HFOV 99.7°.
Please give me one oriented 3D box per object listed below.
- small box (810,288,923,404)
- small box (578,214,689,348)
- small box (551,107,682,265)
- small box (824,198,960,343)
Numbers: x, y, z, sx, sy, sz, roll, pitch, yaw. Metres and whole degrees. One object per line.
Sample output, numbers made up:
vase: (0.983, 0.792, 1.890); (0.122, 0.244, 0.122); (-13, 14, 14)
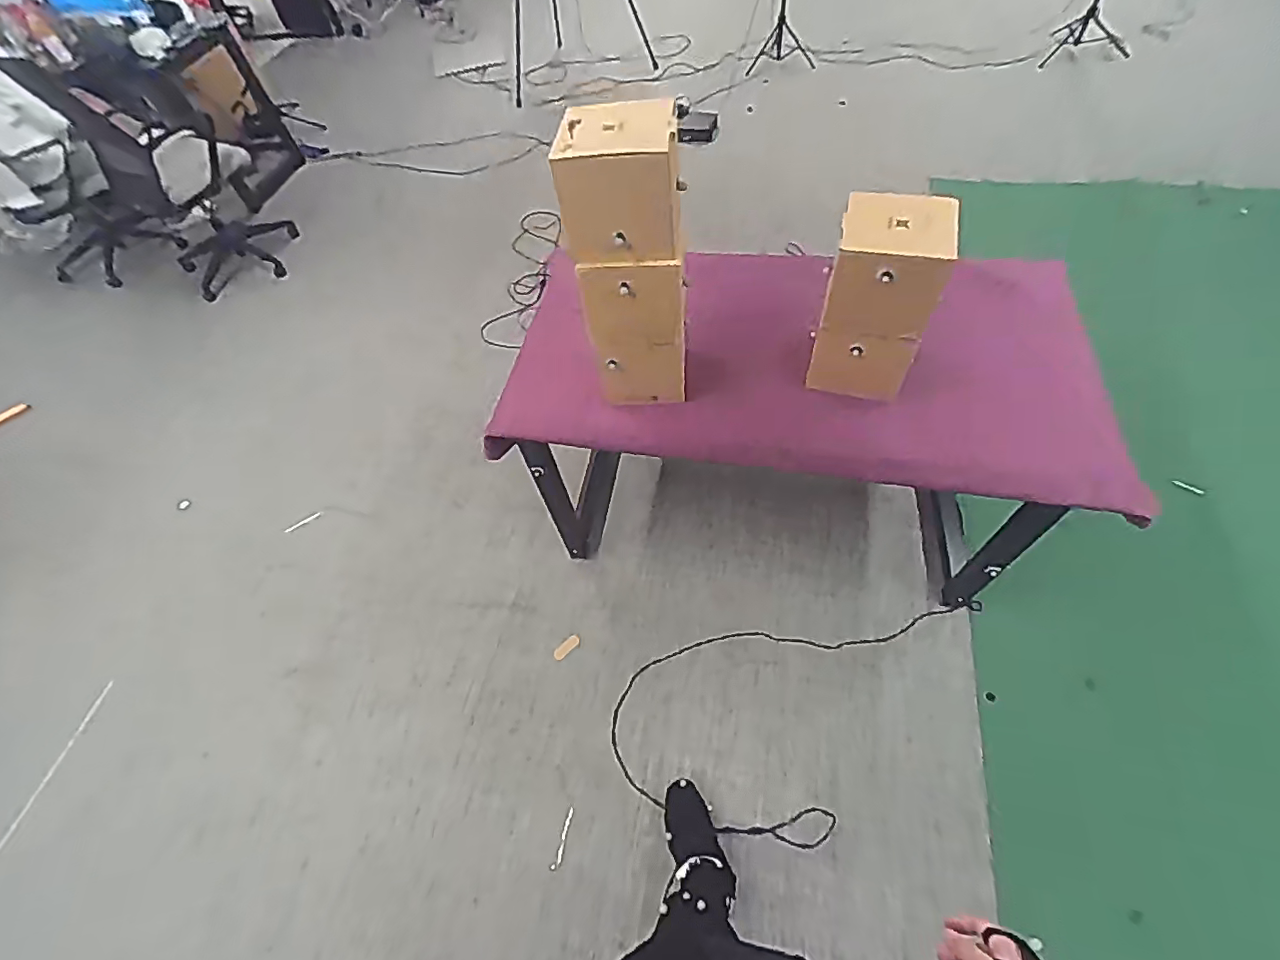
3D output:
small box: (0.448, -0.273, 1.076); (0.179, 0.176, 0.168); (13, 60, 14)
small box: (-0.002, -0.357, 0.986); (0.179, 0.176, 0.168); (1, 56, 8)
small box: (-0.025, -0.461, 0.861); (0.179, 0.176, 0.168); (2, 56, 8)
small box: (0.429, -0.360, 0.939); (0.179, 0.176, 0.168); (12, 60, 14)
